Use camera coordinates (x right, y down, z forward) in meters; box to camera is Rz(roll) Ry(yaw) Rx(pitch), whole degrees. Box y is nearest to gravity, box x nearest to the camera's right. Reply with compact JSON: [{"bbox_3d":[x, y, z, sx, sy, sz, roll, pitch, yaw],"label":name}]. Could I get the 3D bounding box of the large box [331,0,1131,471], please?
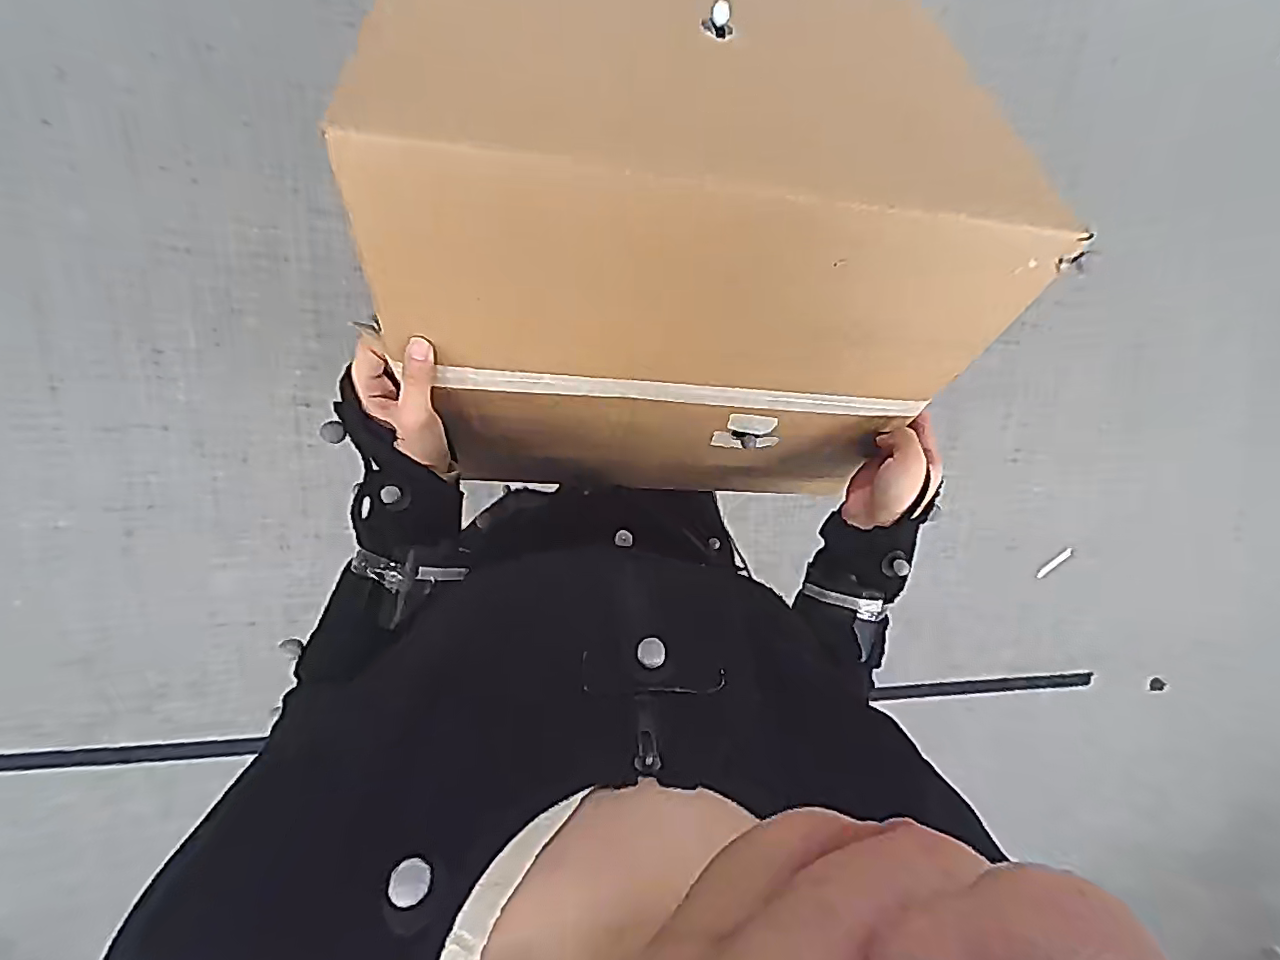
[{"bbox_3d":[0.032,-0.218,0.454,0.408,0.320,0.320,1,61,-10],"label":"large box"}]
